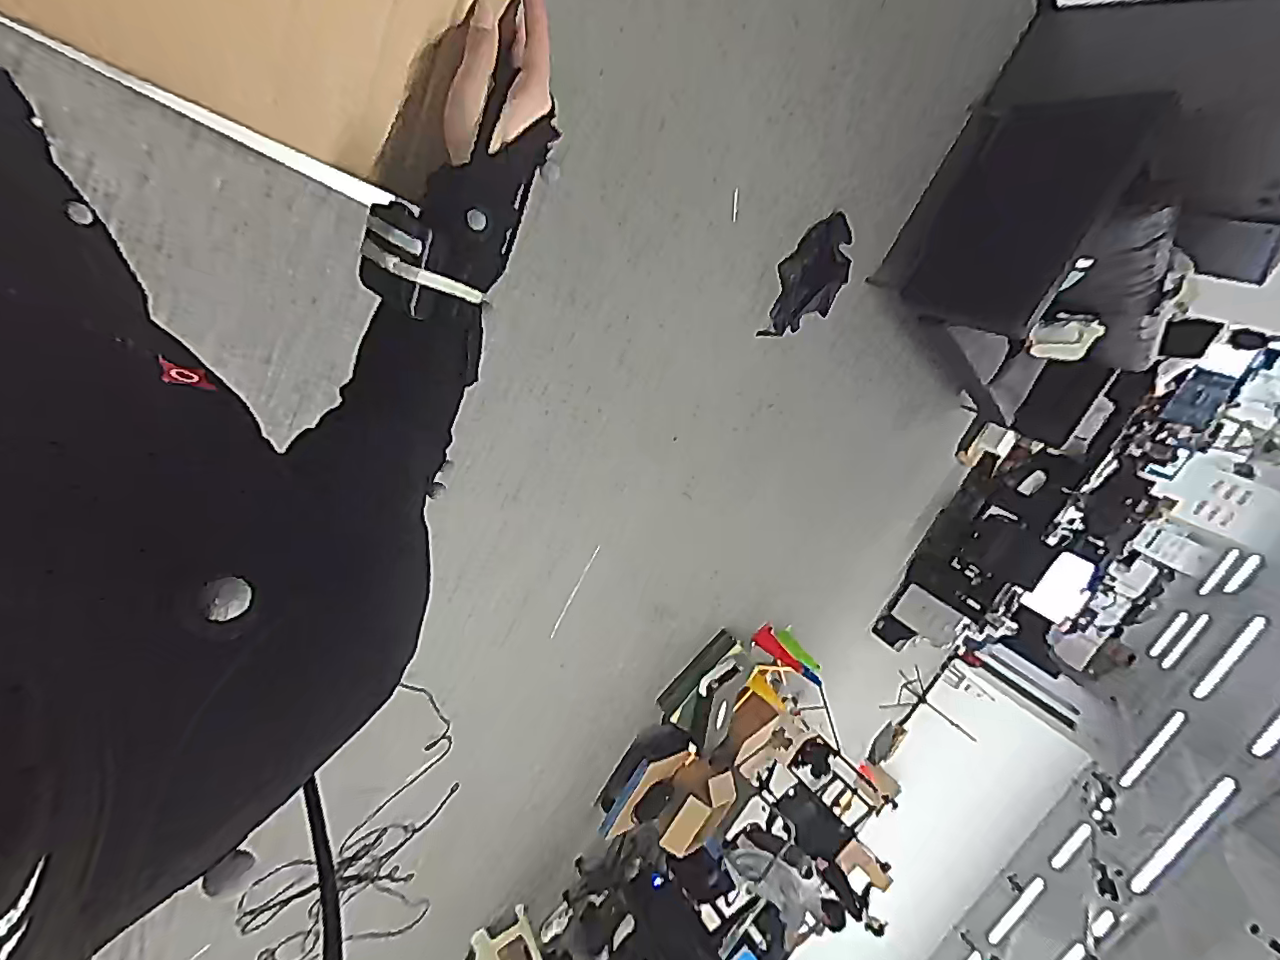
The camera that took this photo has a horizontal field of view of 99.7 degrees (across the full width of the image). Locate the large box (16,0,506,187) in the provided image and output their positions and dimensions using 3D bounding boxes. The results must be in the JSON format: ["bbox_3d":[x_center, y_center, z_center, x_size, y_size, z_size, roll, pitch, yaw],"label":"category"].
[{"bbox_3d":[-0.303,-0.436,0.297,0.408,0.320,0.320,5,121,-48],"label":"large box"}]
